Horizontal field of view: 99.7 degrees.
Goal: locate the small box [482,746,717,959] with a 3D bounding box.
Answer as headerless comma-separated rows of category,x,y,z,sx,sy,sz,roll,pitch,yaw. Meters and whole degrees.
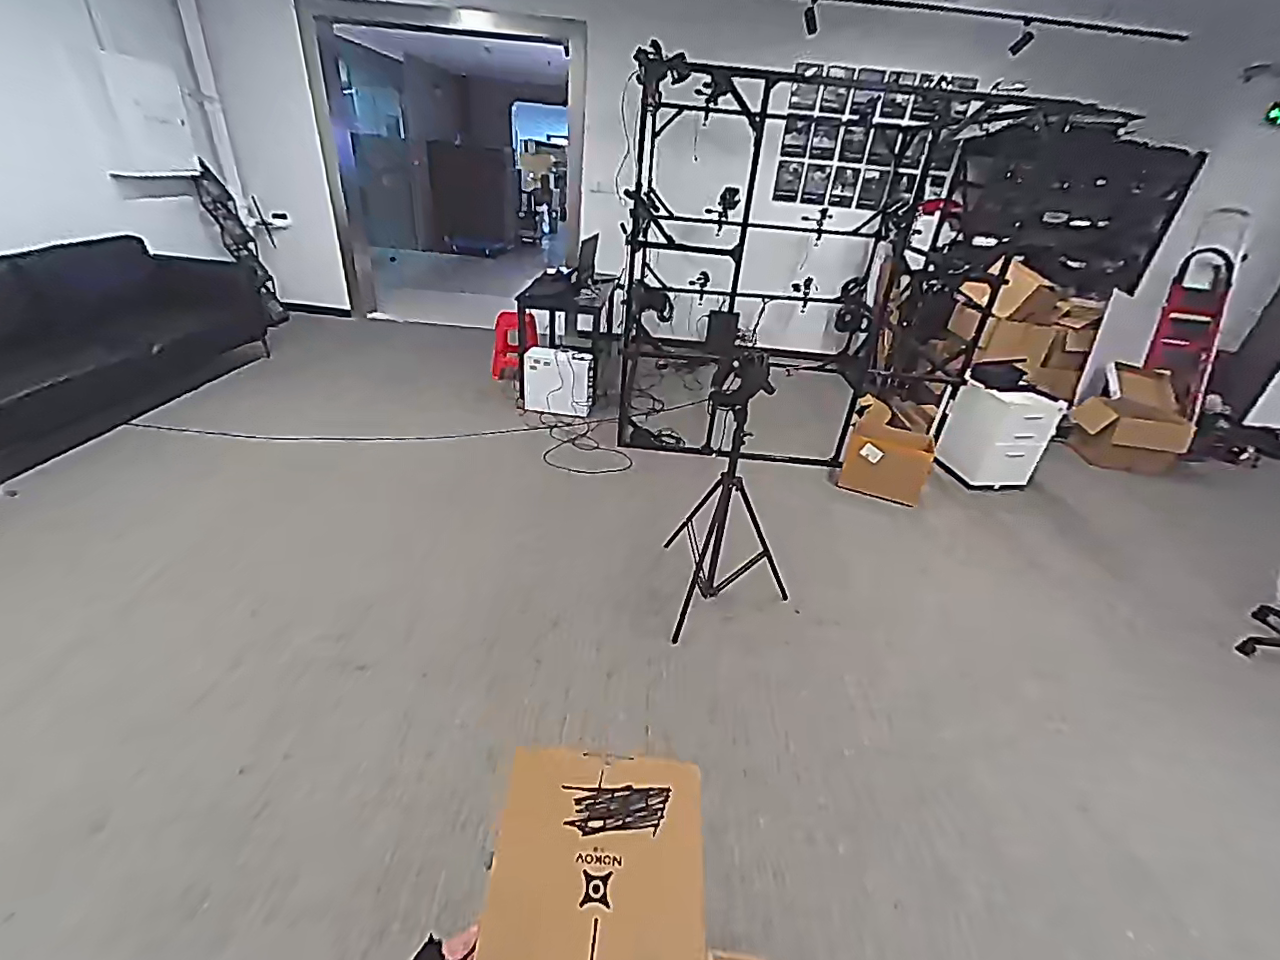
small box,-0.034,0.358,0.464,0.168,0.176,0.179,6,43,-2
